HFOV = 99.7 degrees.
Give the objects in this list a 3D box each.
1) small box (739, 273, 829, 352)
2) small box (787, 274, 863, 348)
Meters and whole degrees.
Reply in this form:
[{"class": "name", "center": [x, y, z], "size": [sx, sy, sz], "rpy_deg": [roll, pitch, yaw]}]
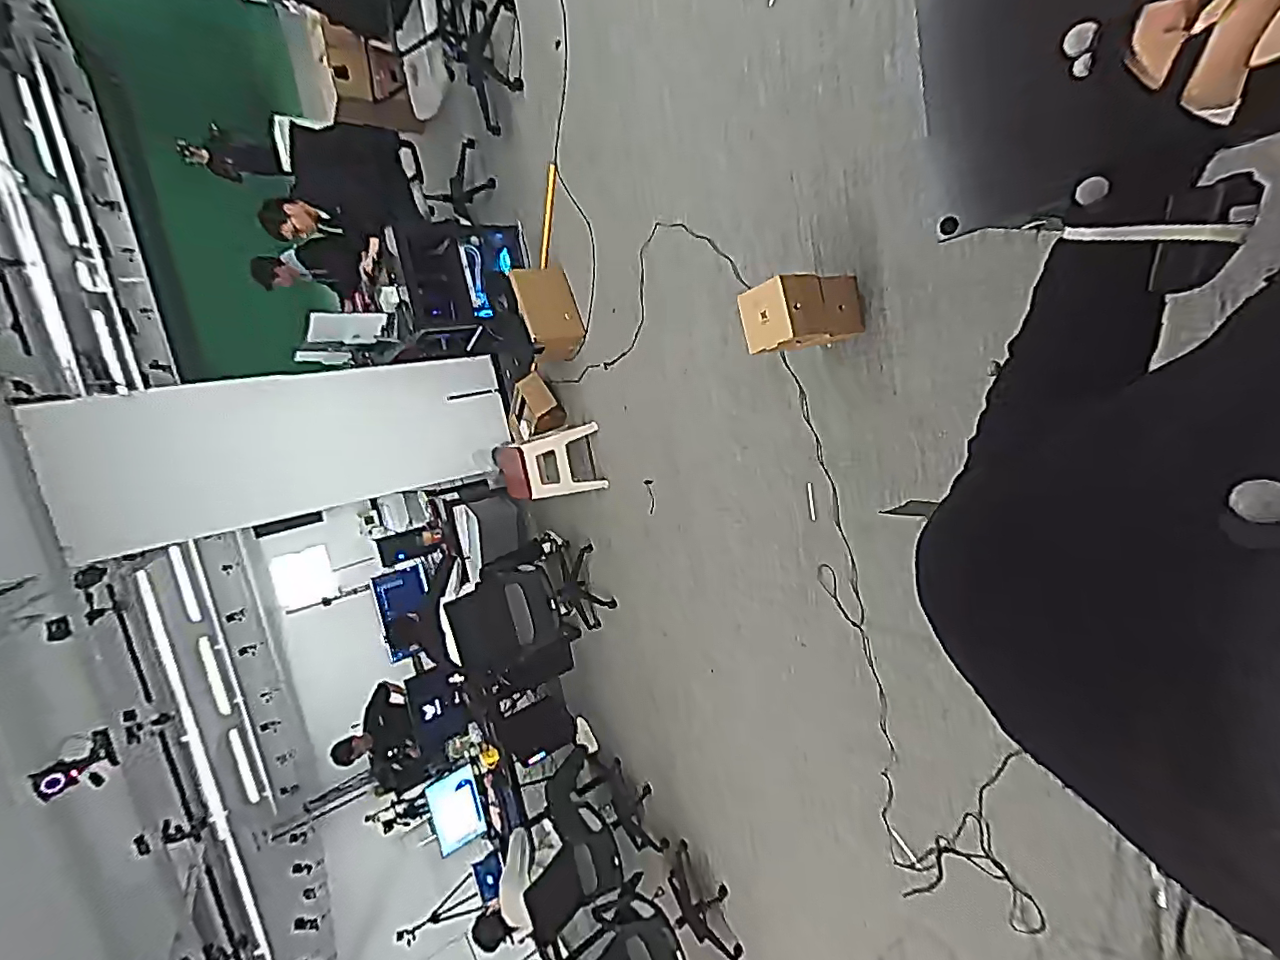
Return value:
[{"class": "small box", "center": [0.416, -0.480, 1.551], "size": [0.168, 0.176, 0.179], "rpy_deg": [-10, 94, 56]}, {"class": "small box", "center": [0.549, -0.511, 1.638], "size": [0.168, 0.176, 0.179], "rpy_deg": [-4, 100, 57]}]
